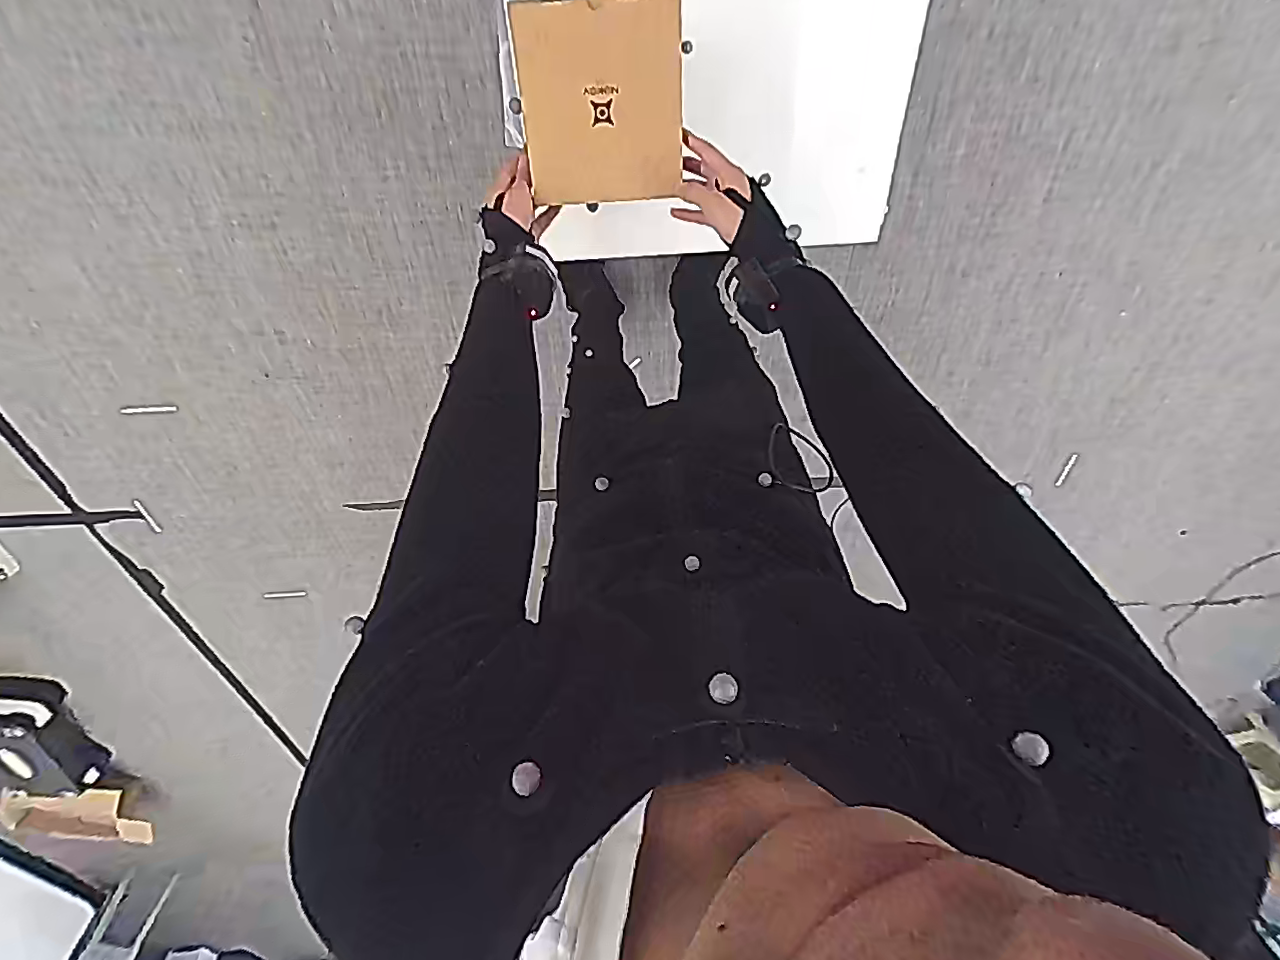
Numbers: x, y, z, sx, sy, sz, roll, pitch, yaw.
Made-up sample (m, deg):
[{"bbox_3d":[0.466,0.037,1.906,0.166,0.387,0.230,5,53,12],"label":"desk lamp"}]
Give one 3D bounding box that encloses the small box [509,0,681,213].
[{"bbox_3d":[-0.042,-0.417,0.620,0.168,0.176,0.179,-4,122,-1],"label":"small box"}]
